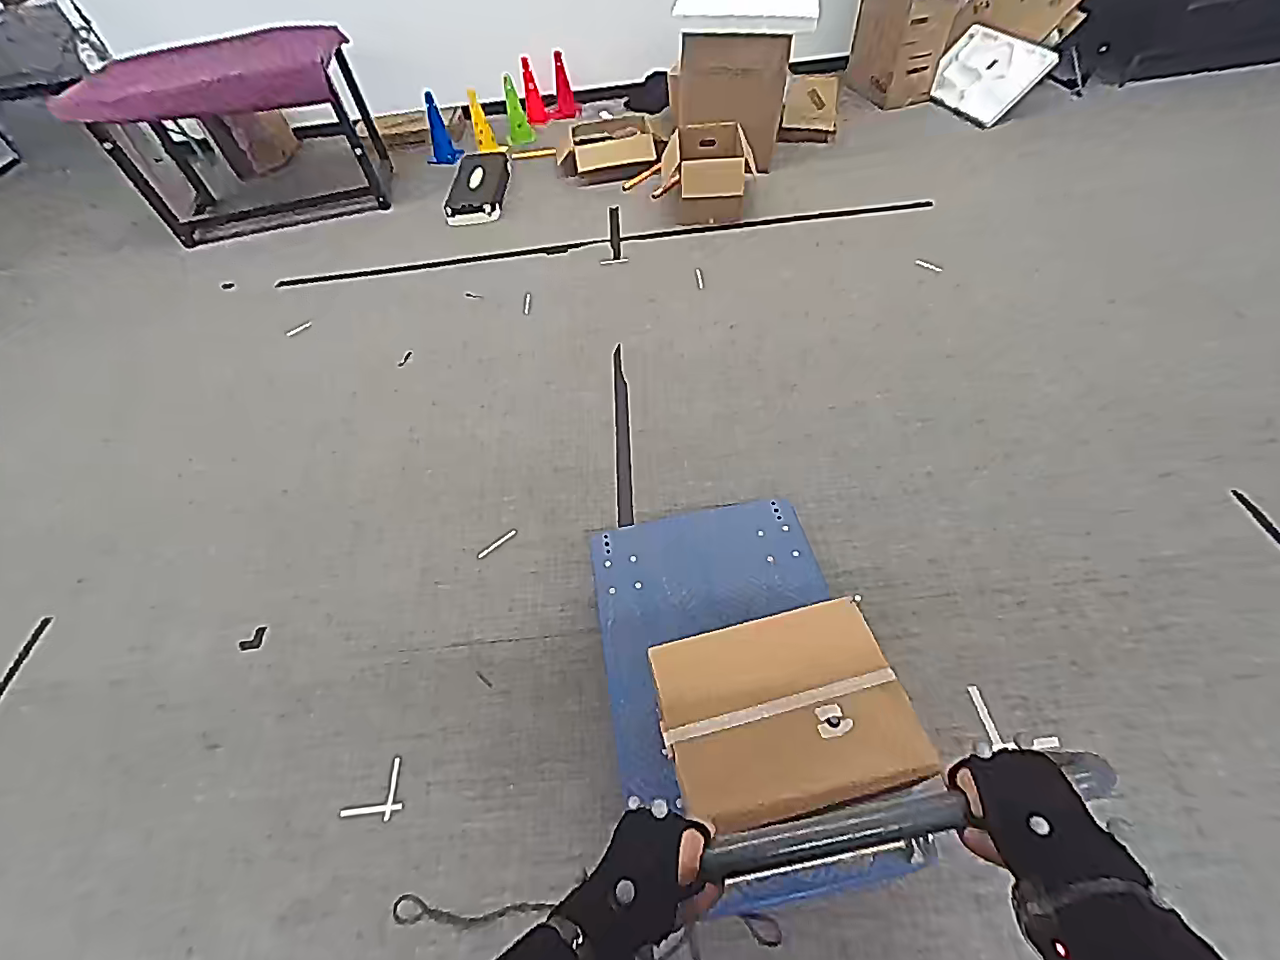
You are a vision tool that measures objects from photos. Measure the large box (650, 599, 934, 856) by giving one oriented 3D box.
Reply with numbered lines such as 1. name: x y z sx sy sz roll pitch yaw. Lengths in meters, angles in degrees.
1. large box: 0.255 0.483 1.050 0.408 0.320 0.320 -13 53 -6
